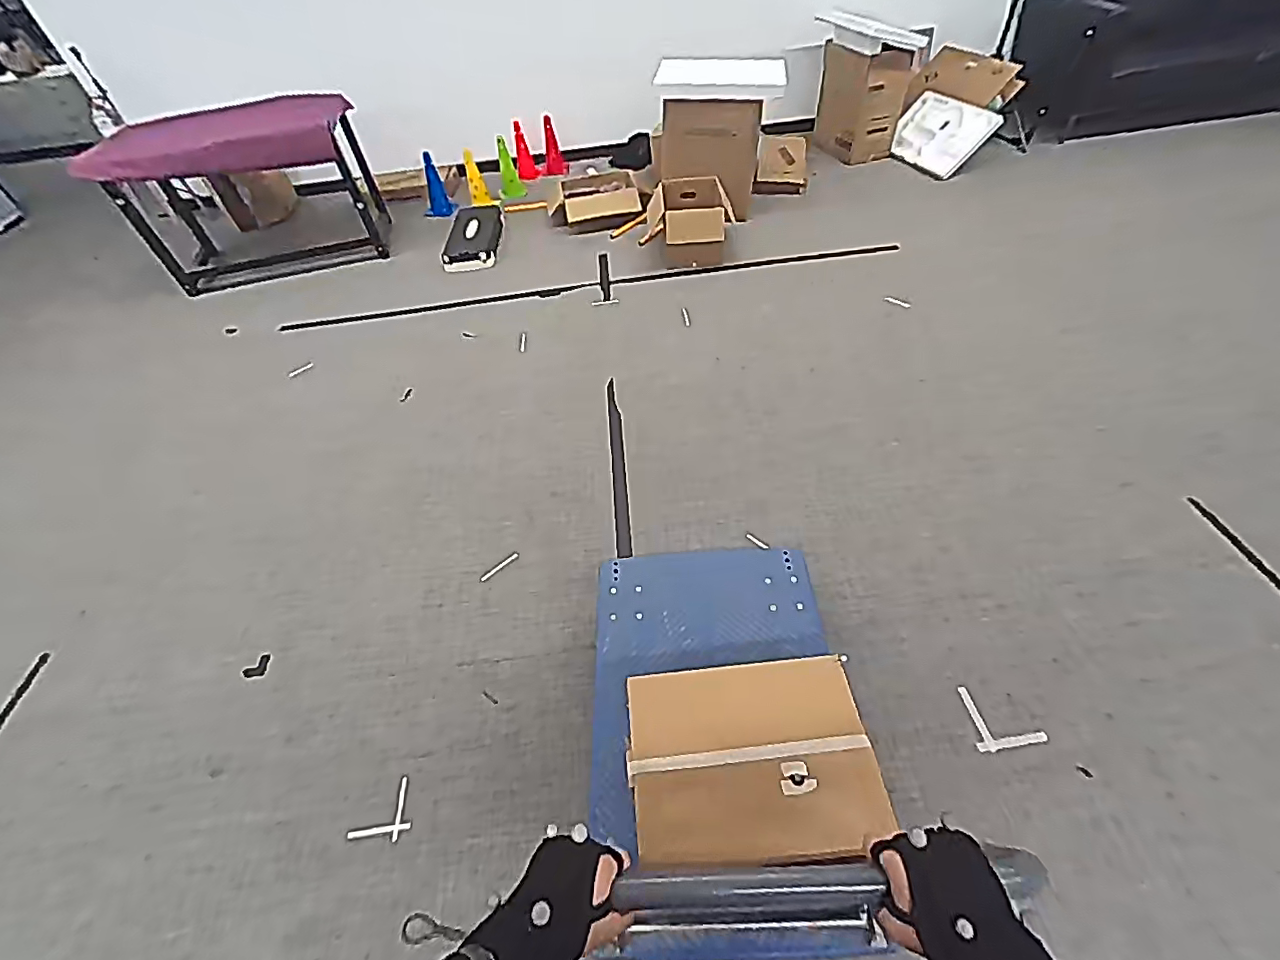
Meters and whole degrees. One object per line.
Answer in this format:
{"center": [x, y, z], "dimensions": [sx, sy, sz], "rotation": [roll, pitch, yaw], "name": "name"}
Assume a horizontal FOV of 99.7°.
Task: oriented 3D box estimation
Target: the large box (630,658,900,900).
{"center": [0.201, 0.576, 1.039], "dimensions": [0.408, 0.320, 0.320], "rotation": [-6, 49, -1], "name": "large box"}
